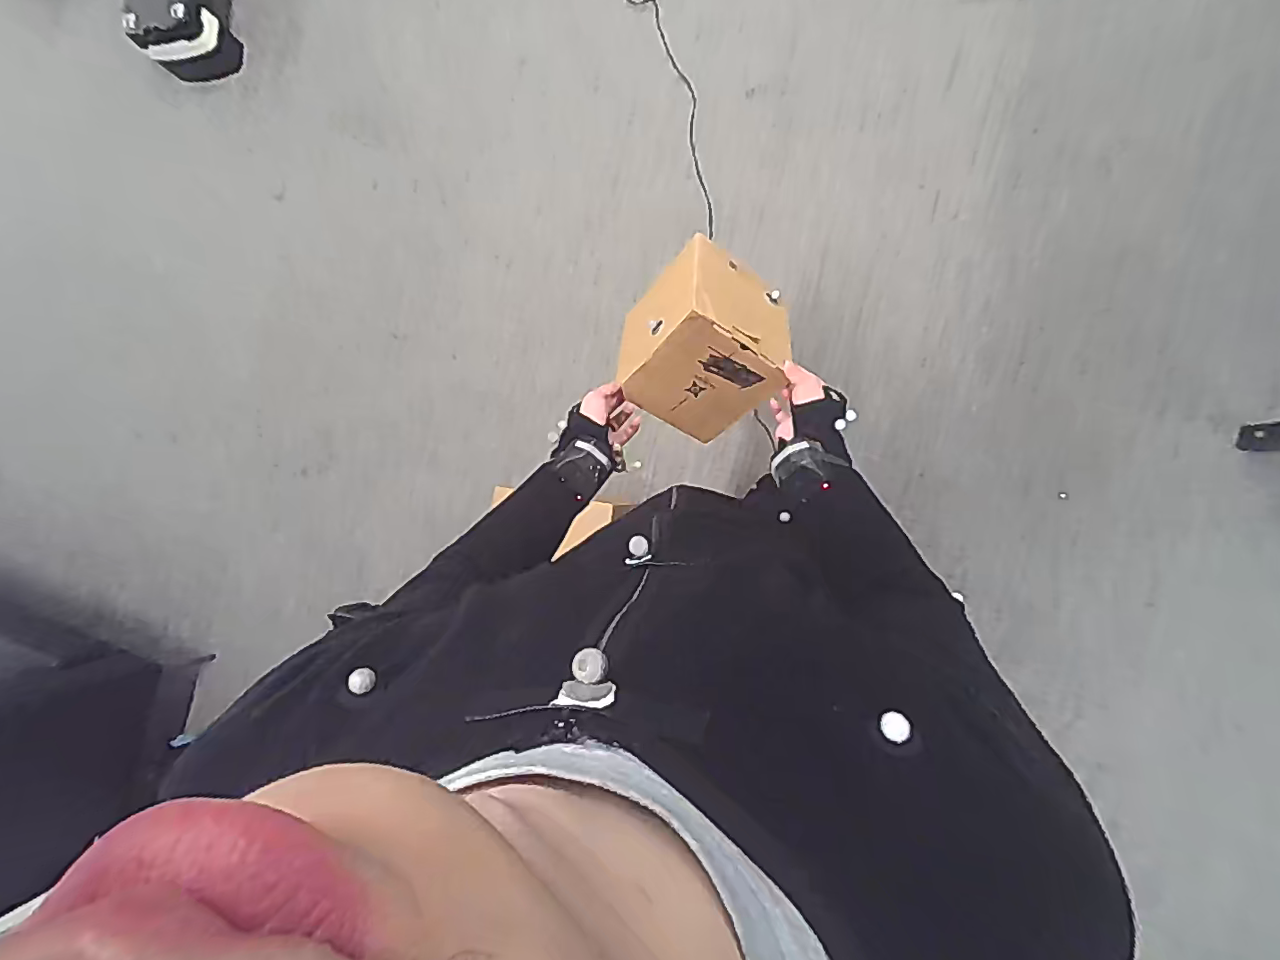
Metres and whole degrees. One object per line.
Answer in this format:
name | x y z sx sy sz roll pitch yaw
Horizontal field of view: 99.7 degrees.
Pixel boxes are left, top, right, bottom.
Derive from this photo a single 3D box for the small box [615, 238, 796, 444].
small box | 0.084 -0.187 0.737 0.168 0.176 0.179 26 138 -24
